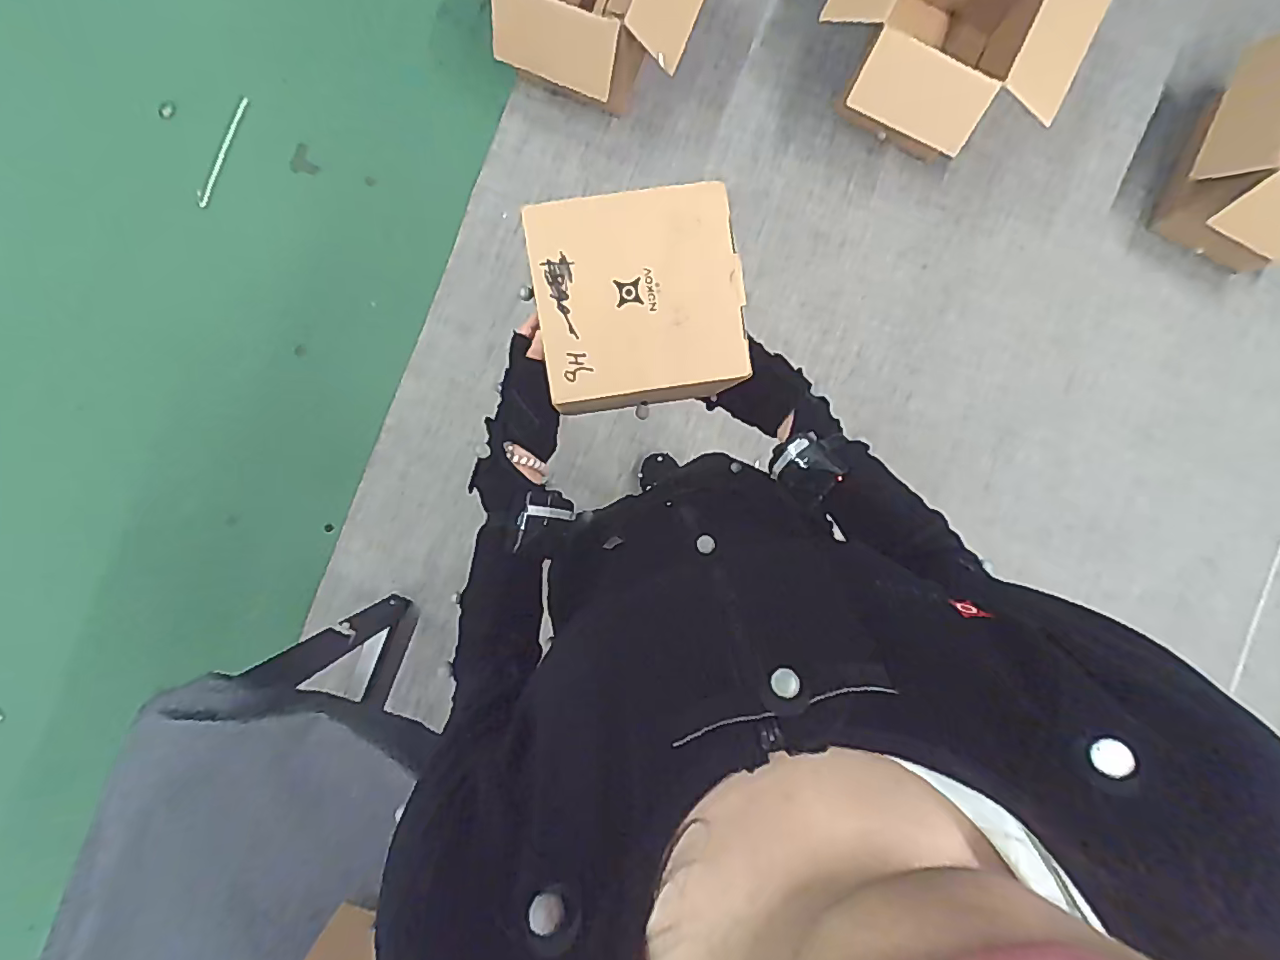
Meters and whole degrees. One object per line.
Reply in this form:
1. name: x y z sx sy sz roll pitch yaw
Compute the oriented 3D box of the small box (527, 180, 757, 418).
1. small box: -0.003 -0.163 0.539 0.179 0.176 0.168 -11 90 -3
